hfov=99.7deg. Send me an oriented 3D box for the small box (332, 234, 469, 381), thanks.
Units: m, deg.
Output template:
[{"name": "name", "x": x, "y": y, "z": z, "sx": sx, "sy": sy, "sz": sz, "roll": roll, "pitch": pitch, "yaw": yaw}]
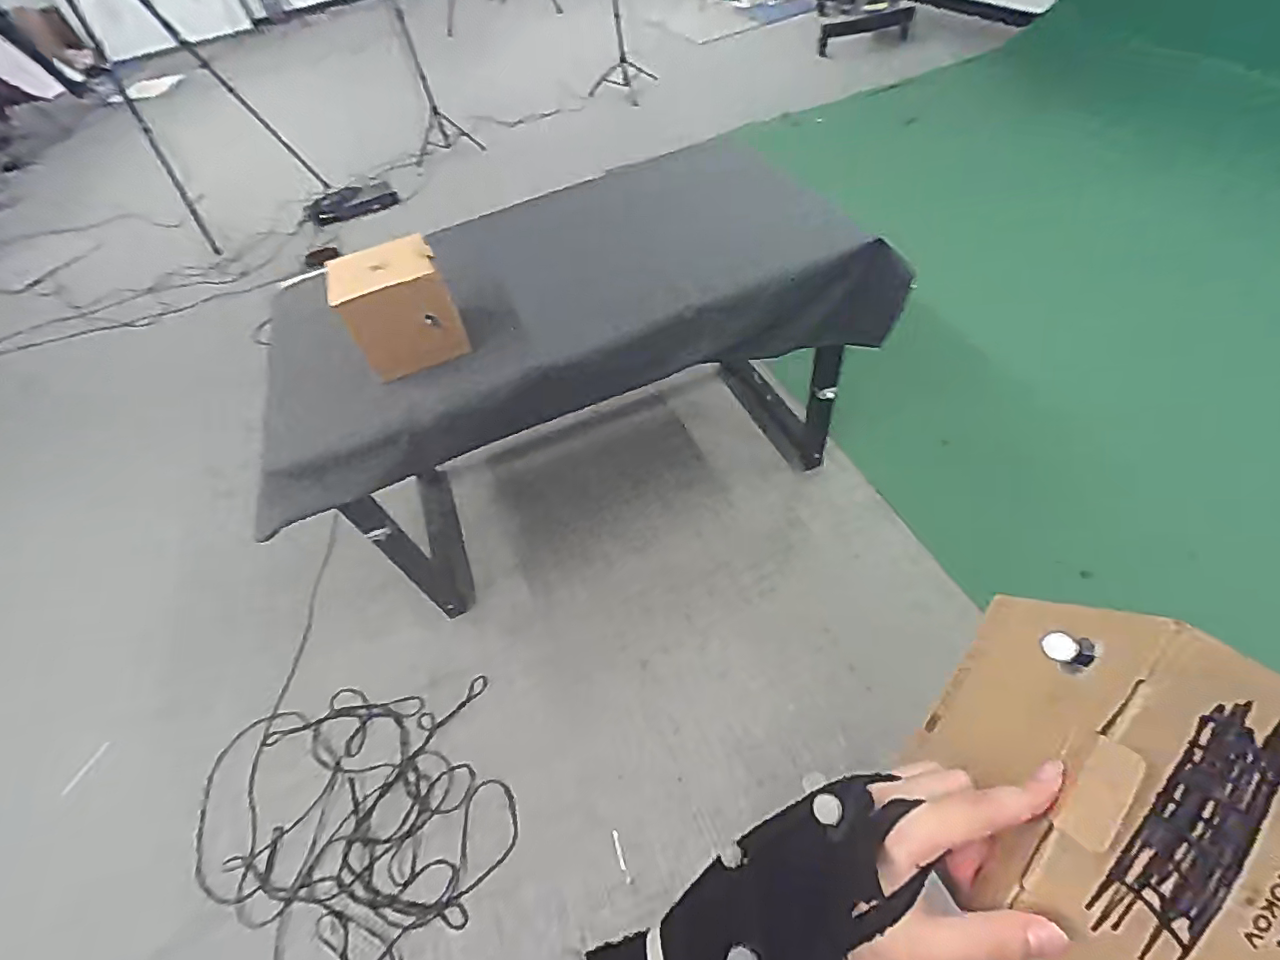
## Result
[{"name": "small box", "x": -0.429, "y": -0.312, "z": 0.989, "sx": 0.179, "sy": 0.176, "sz": 0.168, "roll": -23, "pitch": 51, "yaw": -8}]
